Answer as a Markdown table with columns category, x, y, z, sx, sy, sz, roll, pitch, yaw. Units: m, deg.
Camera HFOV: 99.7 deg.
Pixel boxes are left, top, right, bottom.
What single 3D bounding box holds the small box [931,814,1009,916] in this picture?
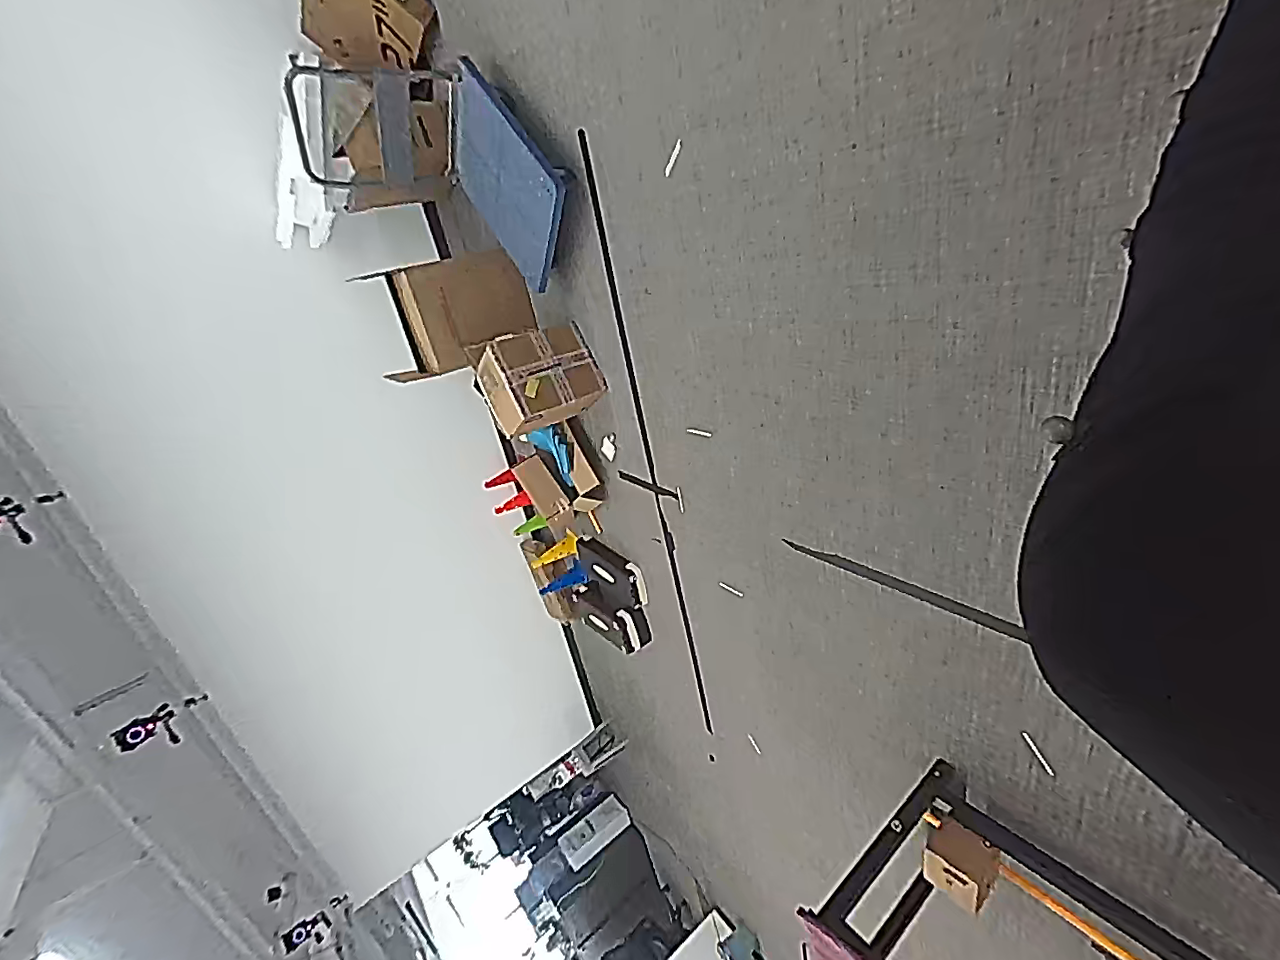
| category | x | y | z | sx | sy | sz | roll | pitch | yaw |
| --- | --- | --- | --- | --- | --- | --- | --- | --- | --- |
| small box | 1.067 | 1.236 | 1.749 | 0.168 | 0.176 | 0.179 | 20 | 131 | 50 |
